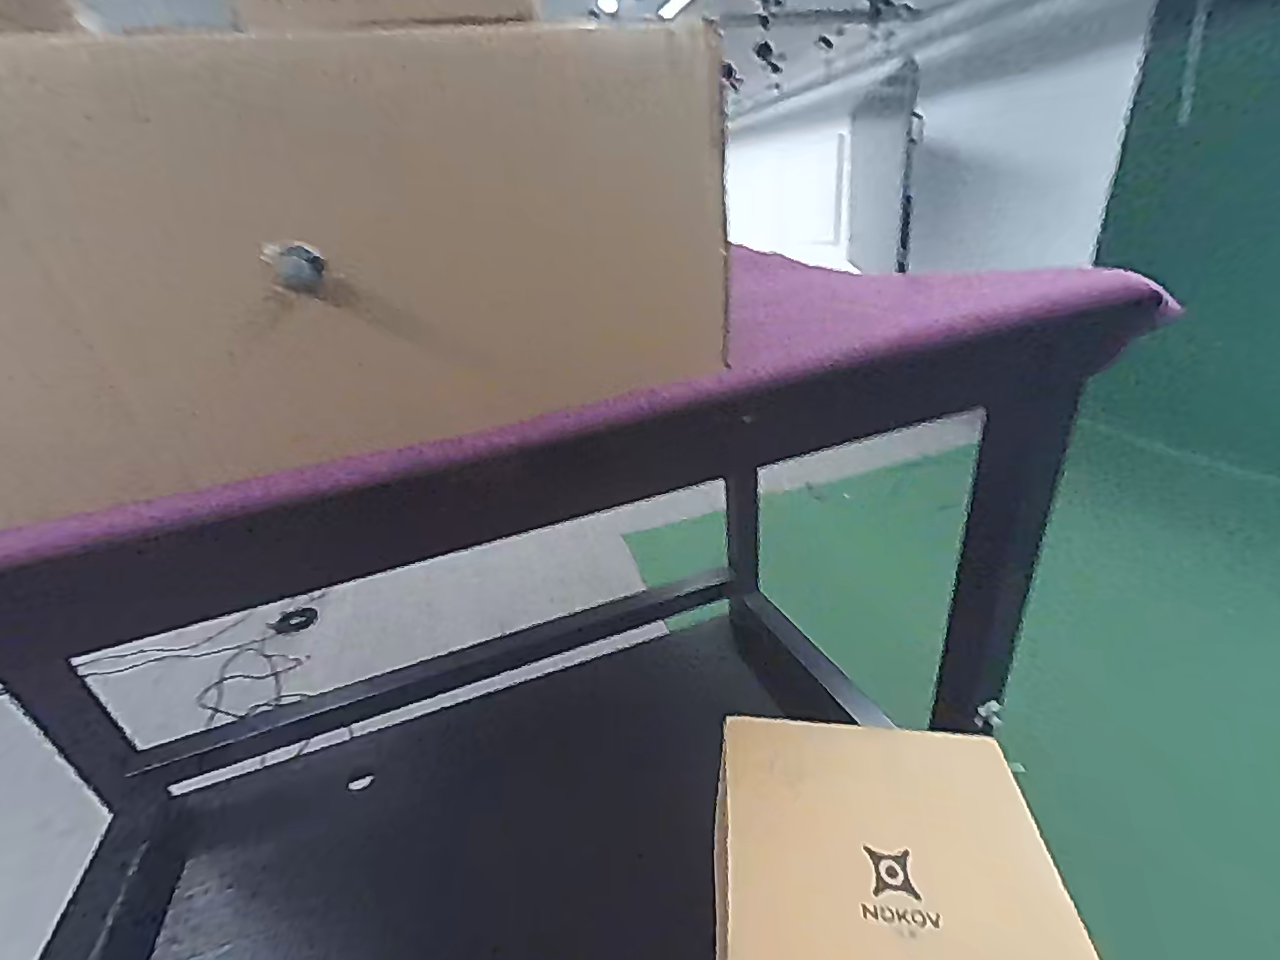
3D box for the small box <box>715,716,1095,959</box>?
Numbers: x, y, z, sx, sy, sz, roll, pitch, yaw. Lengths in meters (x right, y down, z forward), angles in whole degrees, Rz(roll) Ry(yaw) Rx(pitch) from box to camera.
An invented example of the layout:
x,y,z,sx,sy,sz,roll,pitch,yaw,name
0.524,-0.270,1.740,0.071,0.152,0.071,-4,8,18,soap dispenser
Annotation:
x,y,z,sx,sy,sz,roll,pitch,yaw,name
0.129,0.271,0.312,0.168,0.176,0.179,2,32,8,small box
